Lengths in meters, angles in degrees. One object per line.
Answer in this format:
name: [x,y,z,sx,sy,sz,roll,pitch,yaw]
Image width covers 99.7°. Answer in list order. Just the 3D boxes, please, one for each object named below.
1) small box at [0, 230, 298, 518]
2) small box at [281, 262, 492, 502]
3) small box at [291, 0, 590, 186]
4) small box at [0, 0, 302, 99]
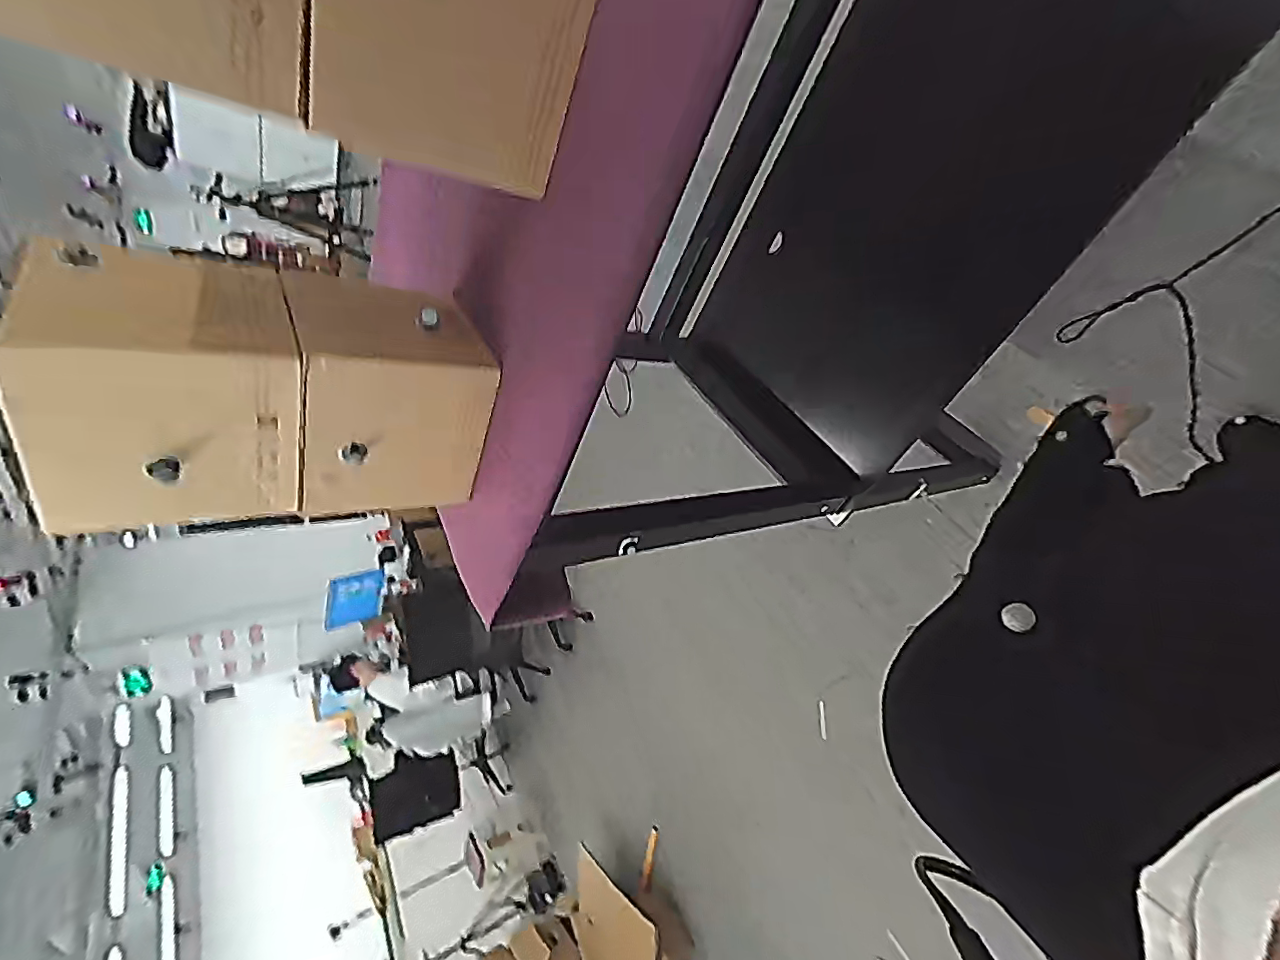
small box: [-0.401,-0.091,0.471,0.179,0.176,0.168,52,131,37]
small box: [-0.270,-0.097,0.568,0.168,0.176,0.179,52,130,35]
small box: [-0.149,-0.347,0.386,0.168,0.176,0.179,56,134,34]
small box: [-0.283,-0.342,0.292,0.179,0.176,0.168,56,132,34]
